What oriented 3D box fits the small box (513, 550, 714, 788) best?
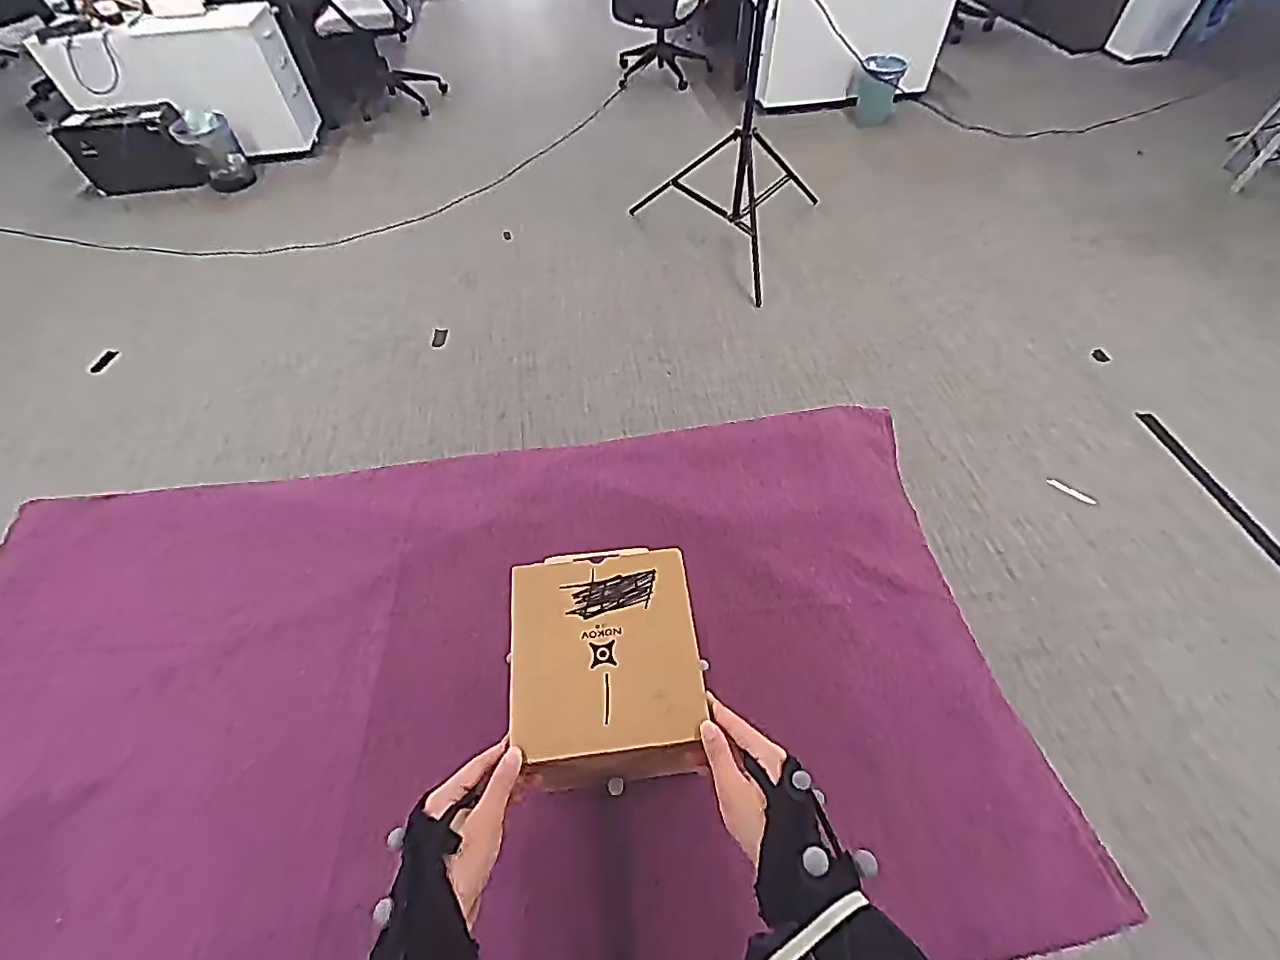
[{"bbox_3d":[-0.027,0.193,0.546,0.168,0.176,0.179,-6,54,-2],"label":"small box"}]
